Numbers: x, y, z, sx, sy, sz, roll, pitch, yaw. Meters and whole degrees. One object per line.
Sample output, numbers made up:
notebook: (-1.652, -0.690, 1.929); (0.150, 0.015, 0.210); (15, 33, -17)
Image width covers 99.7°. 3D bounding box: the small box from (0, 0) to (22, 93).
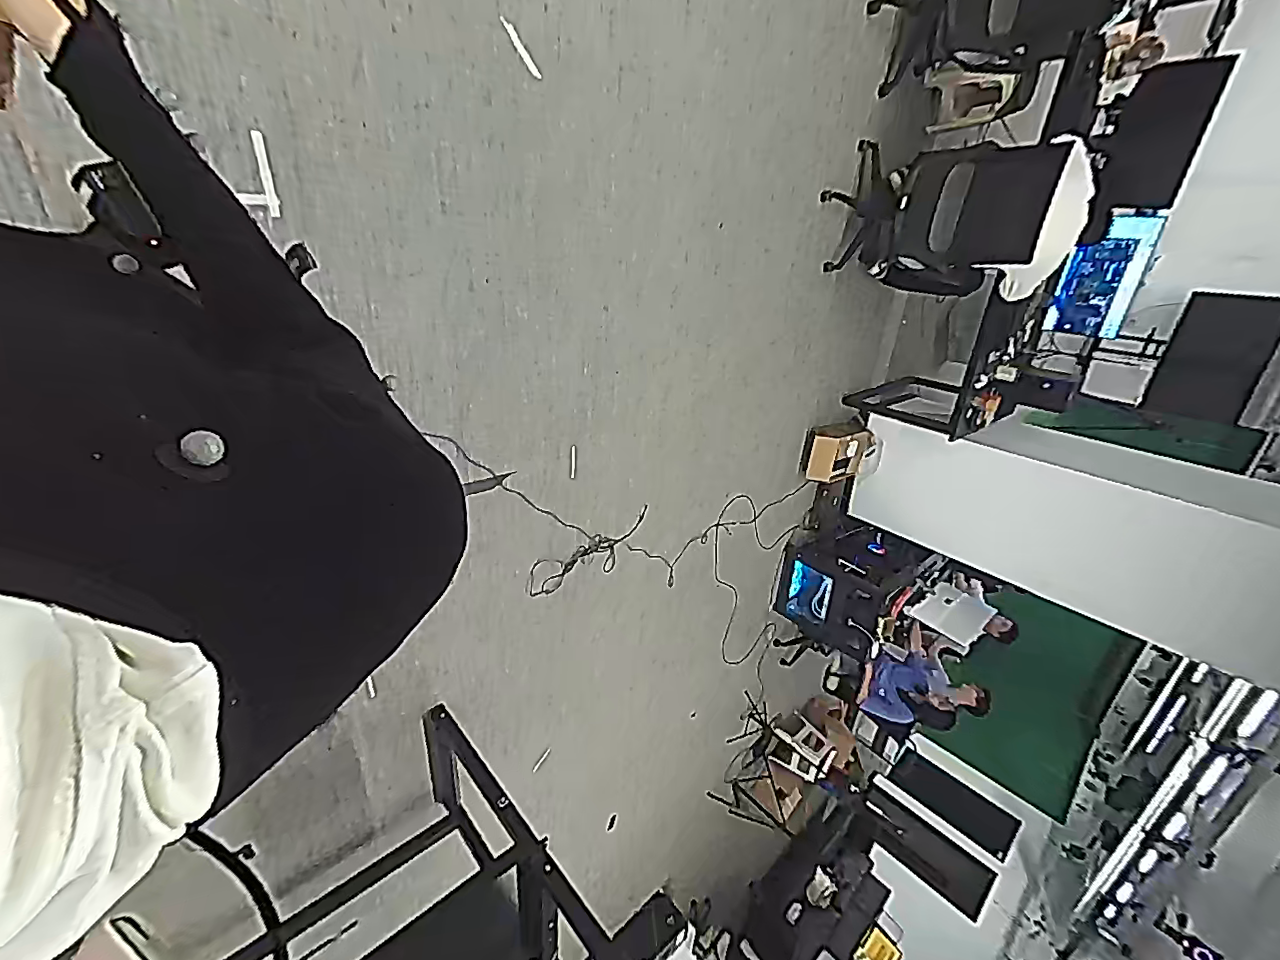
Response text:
small box: (-0.586, -0.396, 0.373); (0.179, 0.176, 0.168); (-23, 110, -45)
